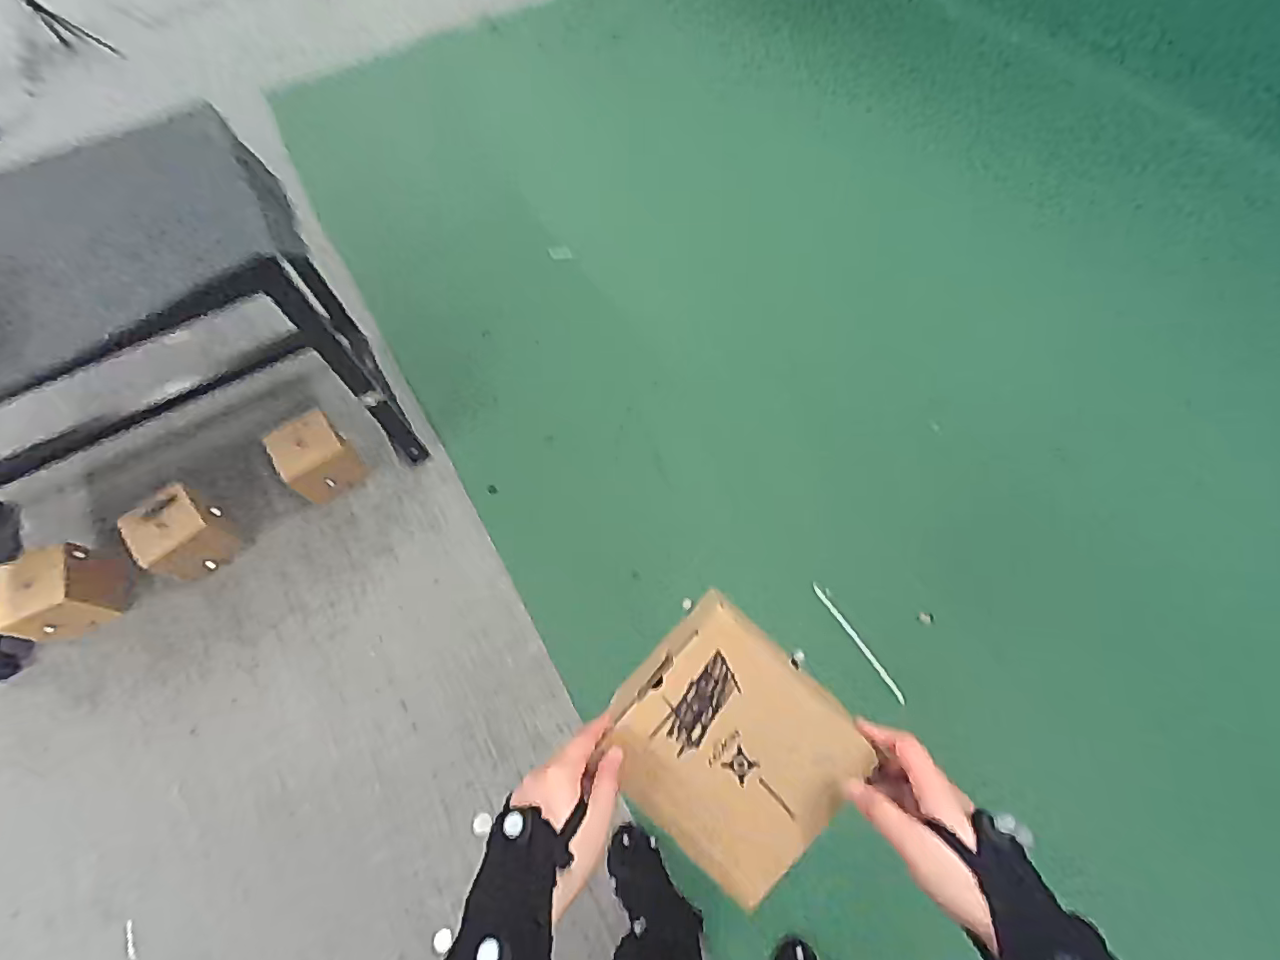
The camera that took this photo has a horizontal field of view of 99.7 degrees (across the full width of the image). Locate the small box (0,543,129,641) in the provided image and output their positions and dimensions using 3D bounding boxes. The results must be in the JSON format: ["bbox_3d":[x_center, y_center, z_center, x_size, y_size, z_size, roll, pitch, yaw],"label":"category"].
[{"bbox_3d":[-1.460,0.295,1.380,0.168,0.176,0.179,-27,64,-10],"label":"small box"}]

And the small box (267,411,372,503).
[{"bbox_3d":[-0.896,-0.055,1.526,0.168,0.176,0.179,-34,66,-15],"label":"small box"}]

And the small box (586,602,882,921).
[{"bbox_3d":[0.076,0.231,0.505,0.179,0.176,0.168,42,89,6],"label":"small box"}]
